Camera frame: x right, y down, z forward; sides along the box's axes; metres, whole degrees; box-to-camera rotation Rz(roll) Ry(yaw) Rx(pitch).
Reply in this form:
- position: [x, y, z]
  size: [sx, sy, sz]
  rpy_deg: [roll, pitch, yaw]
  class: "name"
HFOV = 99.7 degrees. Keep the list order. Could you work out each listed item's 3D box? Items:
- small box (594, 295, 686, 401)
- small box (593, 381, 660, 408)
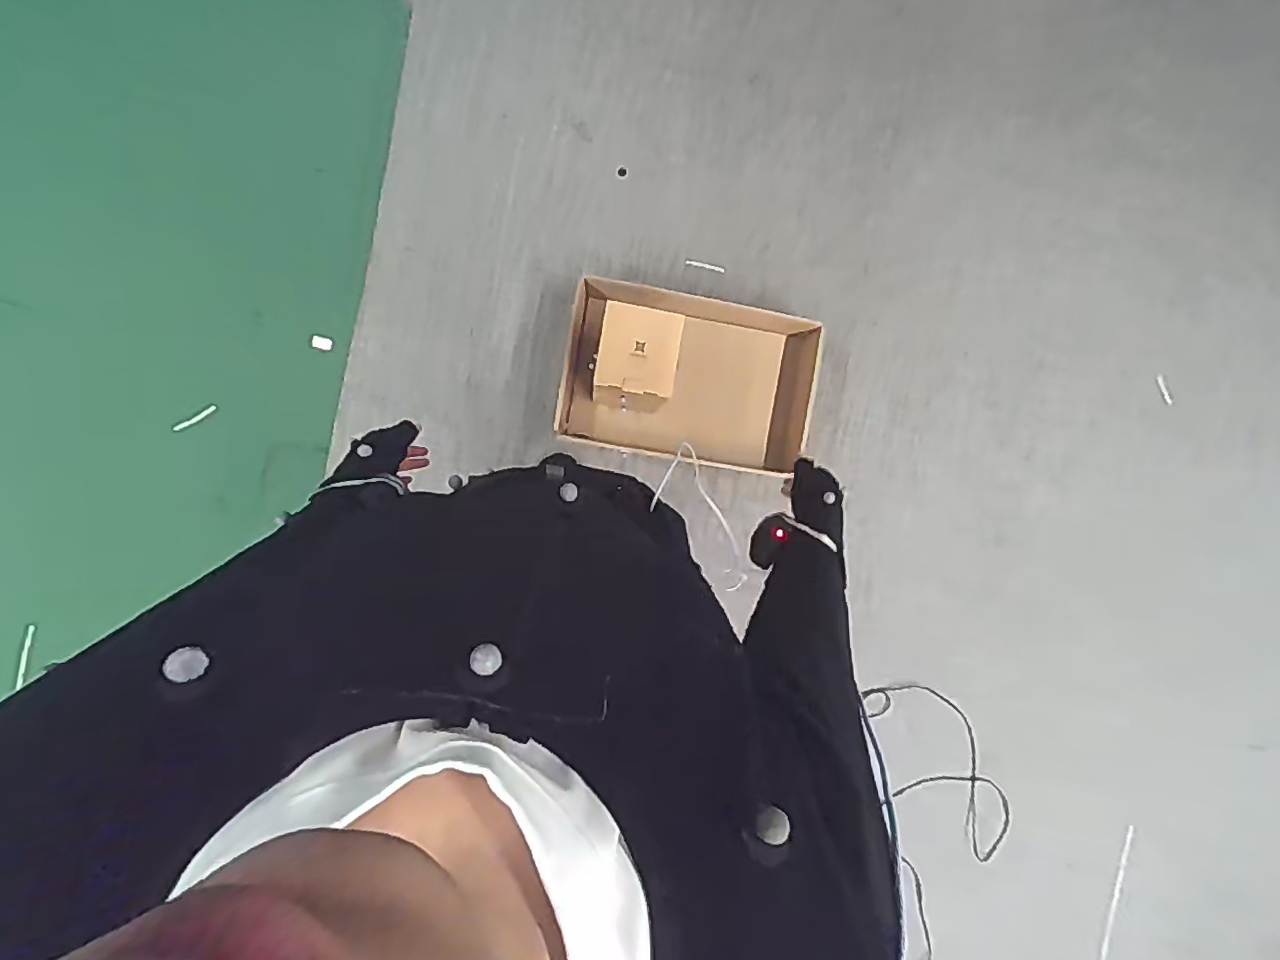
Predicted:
- position: [-0.008, -0.278, 1.176]
  size: [0.168, 0.176, 0.179]
  rpy_deg: [10, 92, -6]
  class: "small box"
- position: [-0.022, -0.284, 1.339]
  size: [0.168, 0.176, 0.179]
  rpy_deg: [11, 92, -5]
  class: "small box"
